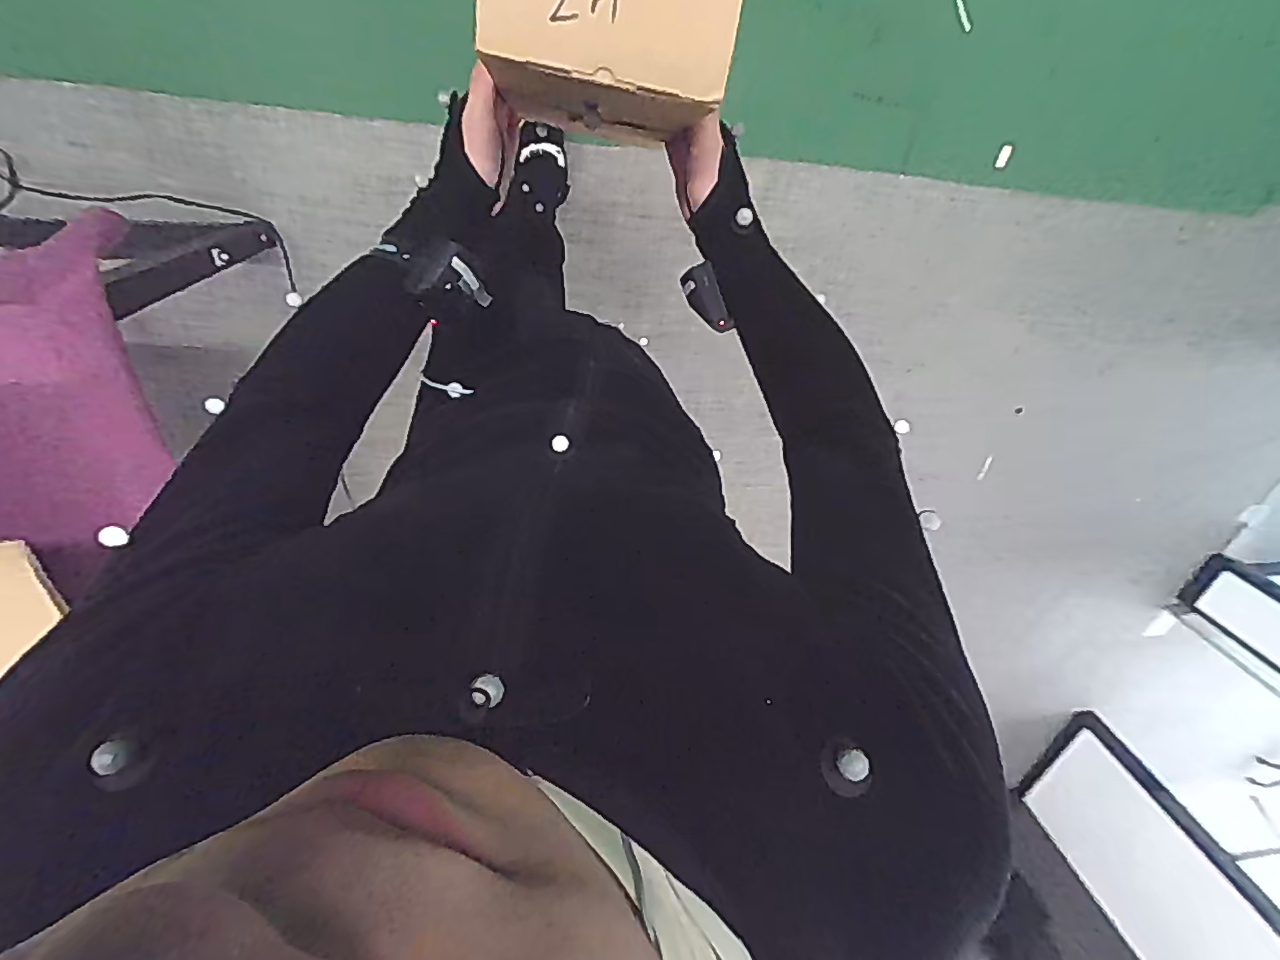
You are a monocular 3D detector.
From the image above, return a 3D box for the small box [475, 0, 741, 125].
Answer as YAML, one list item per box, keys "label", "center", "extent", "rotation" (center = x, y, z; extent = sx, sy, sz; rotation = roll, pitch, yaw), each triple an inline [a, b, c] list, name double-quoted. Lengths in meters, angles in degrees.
- label: "small box"
  center: [-0.020, -0.378, 0.385]
  extent: [0.168, 0.176, 0.179]
  rotation: [5, 117, -11]

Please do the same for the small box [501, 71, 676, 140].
- label: "small box"
  center: [-0.038, -0.453, 0.530]
  extent: [0.168, 0.176, 0.179]
  rotation: [6, 116, -11]
